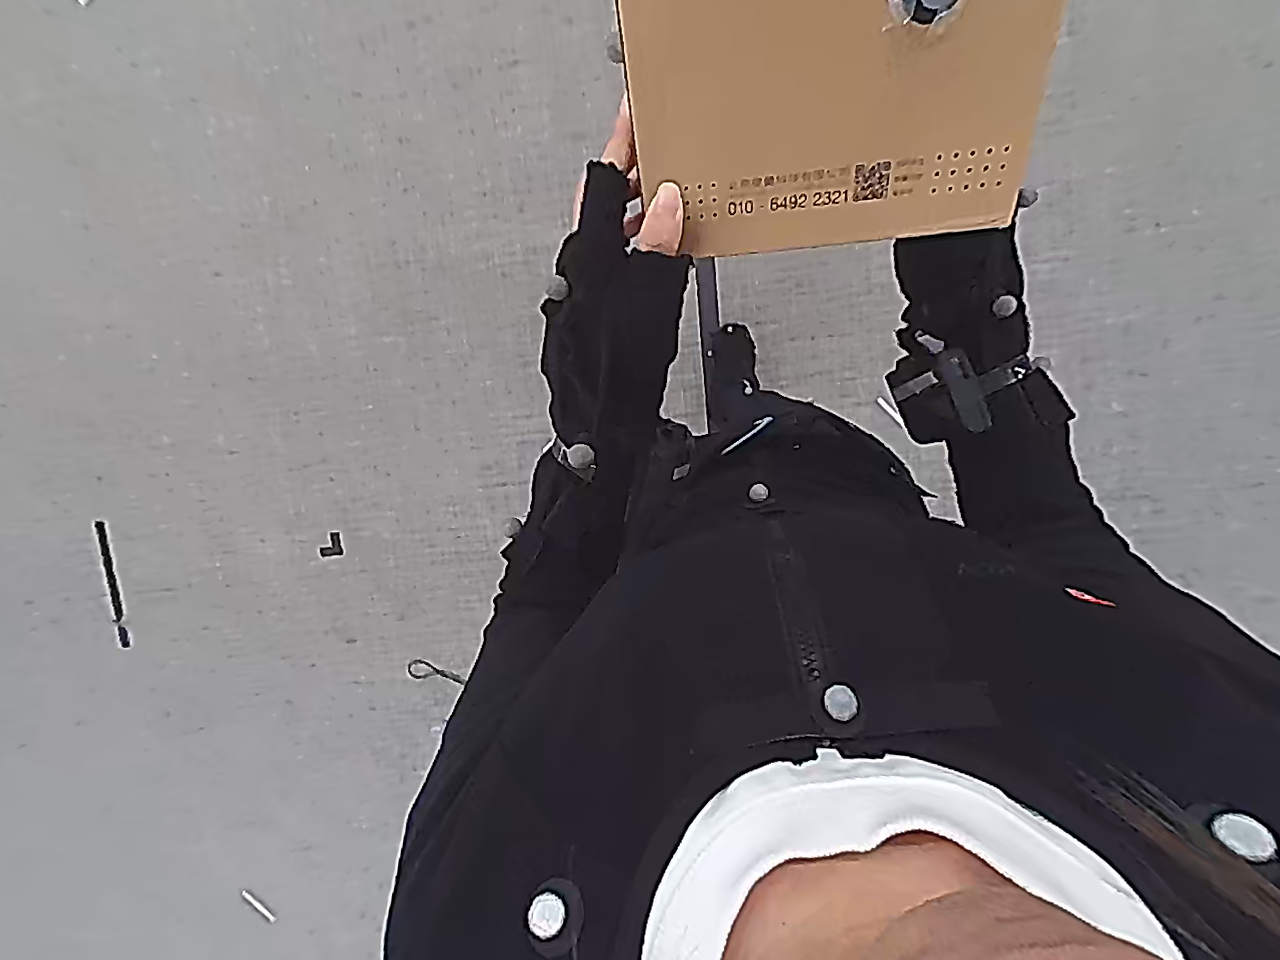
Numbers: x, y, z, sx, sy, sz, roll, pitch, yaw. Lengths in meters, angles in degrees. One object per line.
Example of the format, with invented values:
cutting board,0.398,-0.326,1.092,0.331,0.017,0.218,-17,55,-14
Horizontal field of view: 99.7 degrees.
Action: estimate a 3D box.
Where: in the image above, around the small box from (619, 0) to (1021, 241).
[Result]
small box,0.089,-0.237,0.292,0.168,0.179,0.176,1,127,13
